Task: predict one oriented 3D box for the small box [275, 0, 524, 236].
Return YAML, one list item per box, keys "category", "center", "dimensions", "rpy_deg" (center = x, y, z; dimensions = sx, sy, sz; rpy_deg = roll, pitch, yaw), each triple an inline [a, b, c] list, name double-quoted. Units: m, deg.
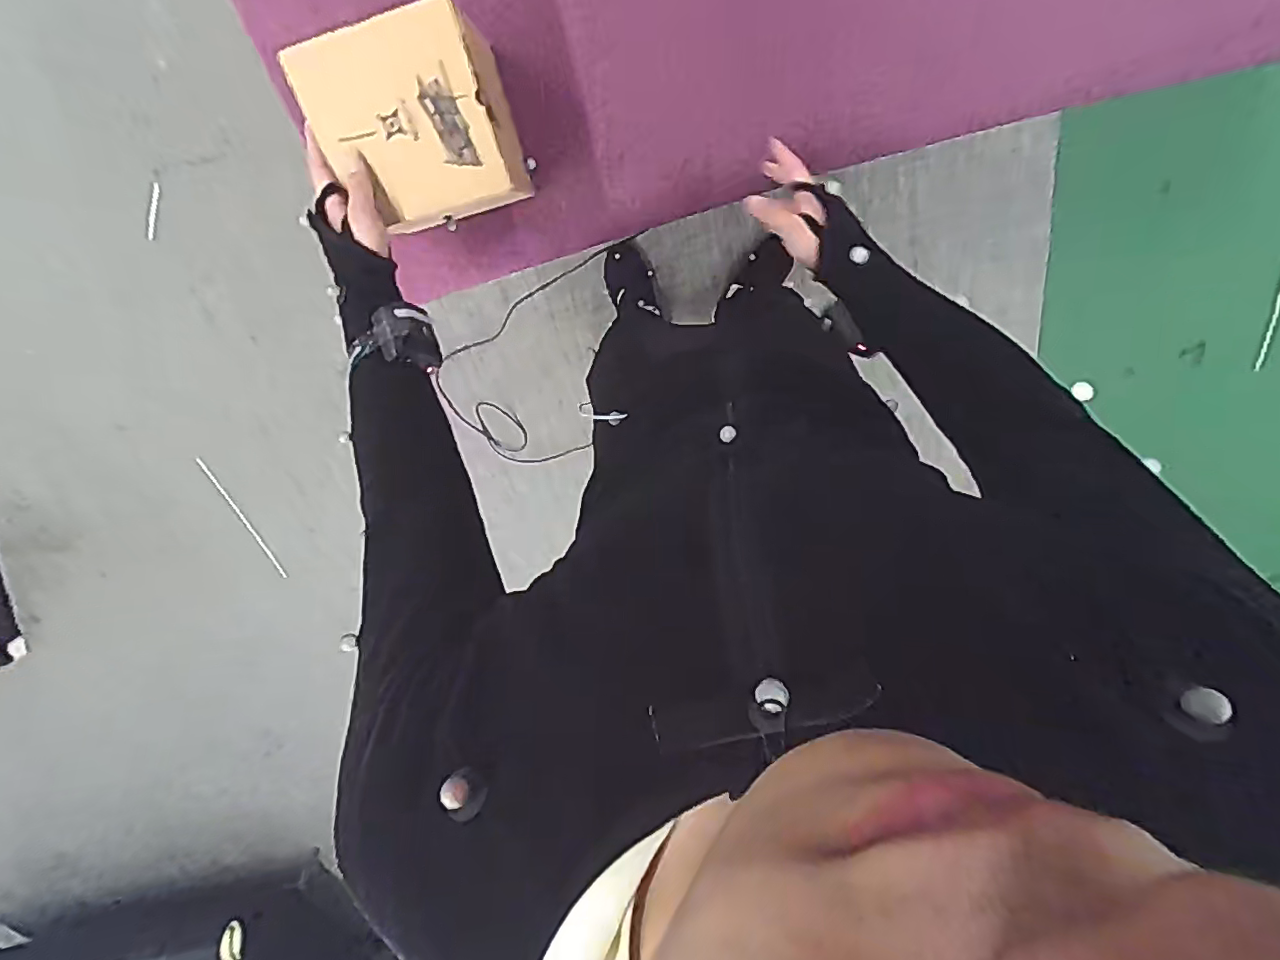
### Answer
- category: "small box"
  center: [-0.238, -0.383, 0.598]
  dimensions: [0.179, 0.176, 0.168]
  rpy_deg: [-13, 116, 6]
